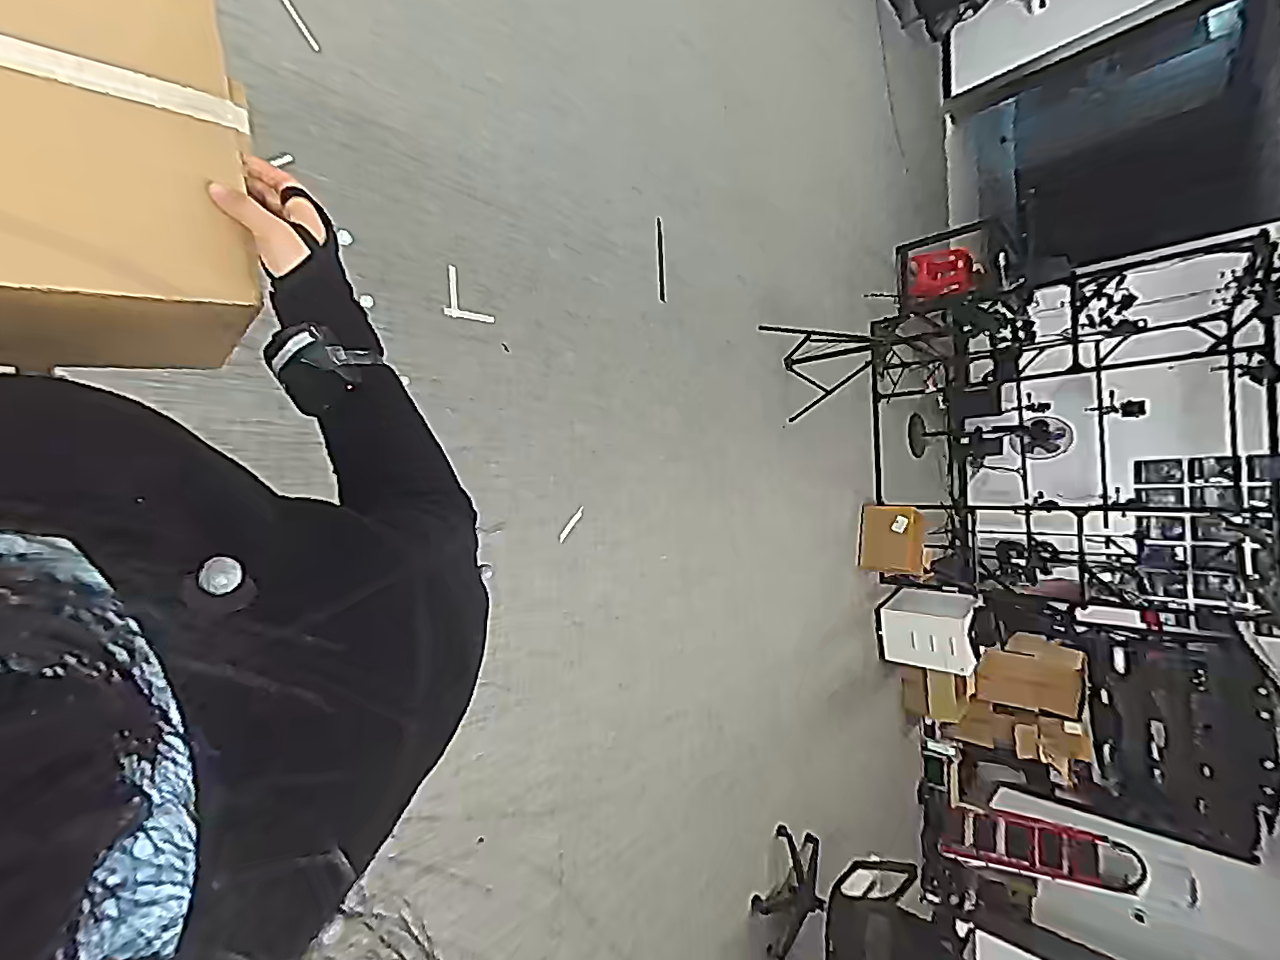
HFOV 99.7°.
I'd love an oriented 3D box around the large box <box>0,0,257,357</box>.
[{"bbox_3d":[-0.594,-0.281,0.435,0.408,0.320,0.320,-10,94,-43],"label":"large box"}]
